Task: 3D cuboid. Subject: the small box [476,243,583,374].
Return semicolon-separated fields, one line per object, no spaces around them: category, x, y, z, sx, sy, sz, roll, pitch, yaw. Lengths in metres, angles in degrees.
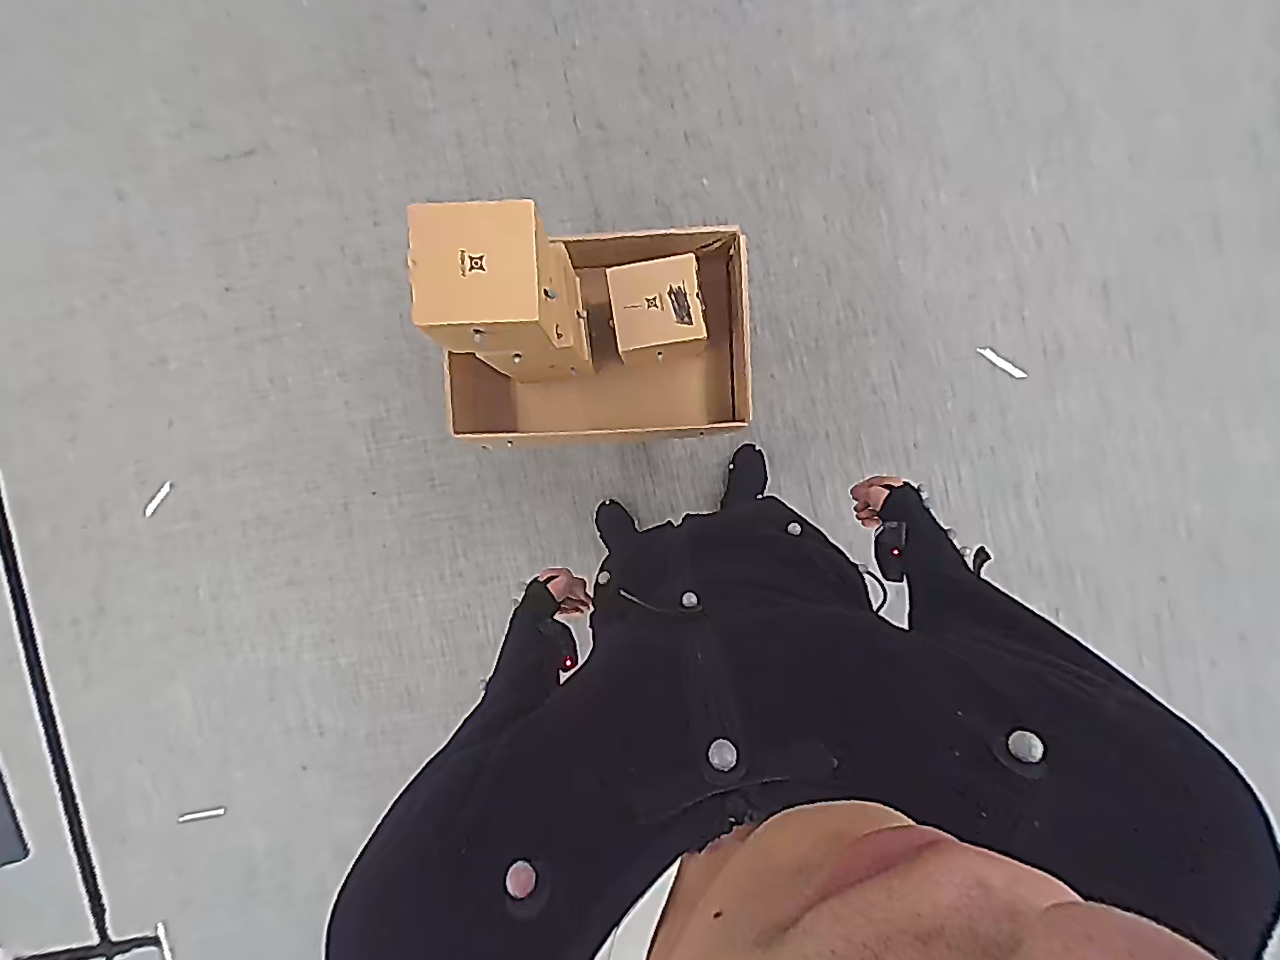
small box;-0.197;-0.298;0.970;0.168;0.176;0.179;-5;91;1

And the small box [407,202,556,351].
small box;-0.223;-0.292;0.807;0.179;0.176;0.168;-3;91;1
